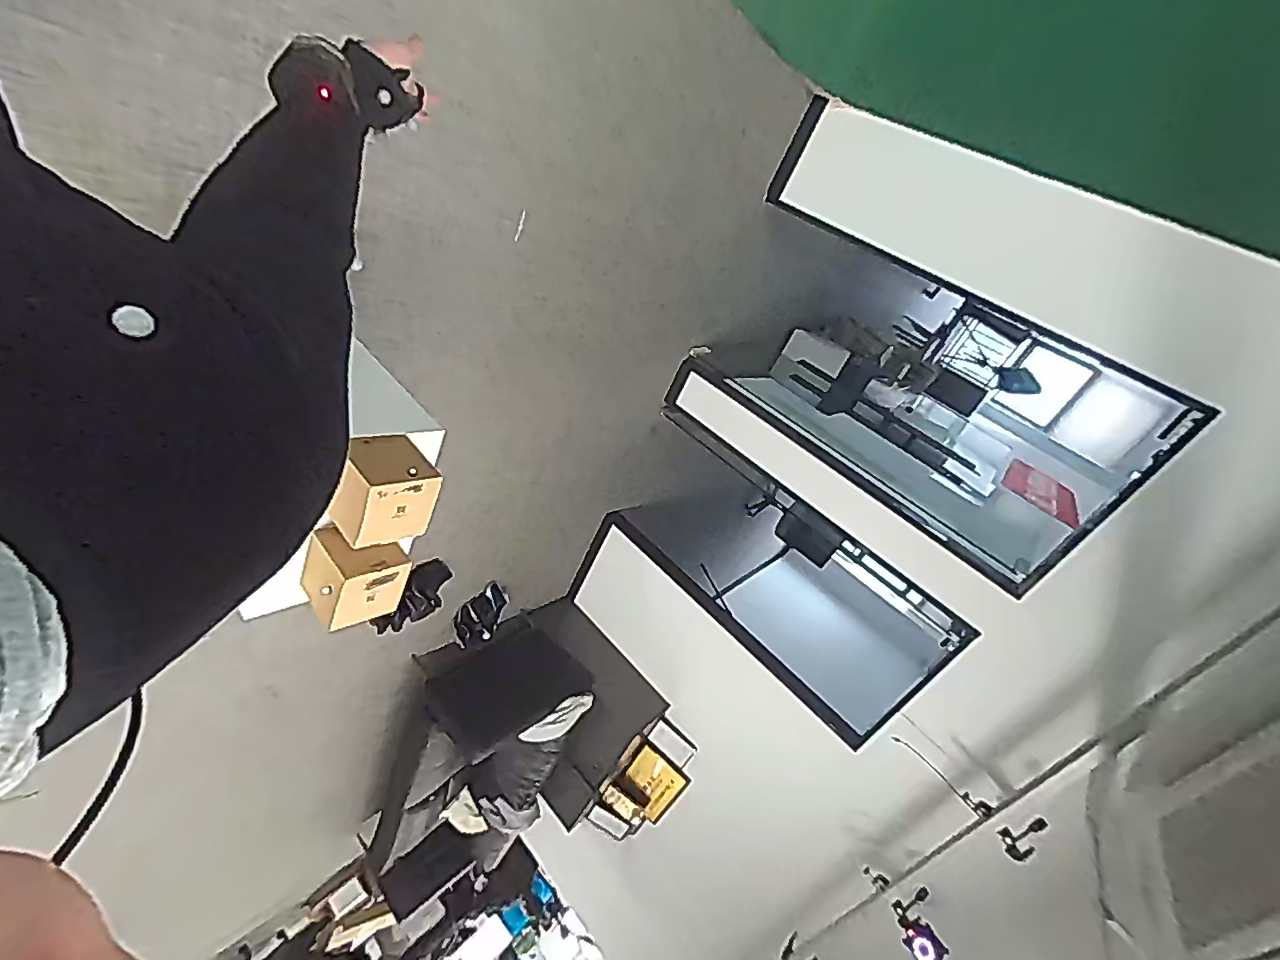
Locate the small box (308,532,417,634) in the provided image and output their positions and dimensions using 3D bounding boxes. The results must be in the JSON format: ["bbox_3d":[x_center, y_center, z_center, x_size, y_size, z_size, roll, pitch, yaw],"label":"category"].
[{"bbox_3d":[-0.678,0.233,1.312,0.168,0.176,0.179,-11,136,-53],"label":"small box"}]

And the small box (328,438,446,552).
[{"bbox_3d":[-0.566,0.027,1.200,0.168,0.176,0.179,-13,139,-53],"label":"small box"}]
